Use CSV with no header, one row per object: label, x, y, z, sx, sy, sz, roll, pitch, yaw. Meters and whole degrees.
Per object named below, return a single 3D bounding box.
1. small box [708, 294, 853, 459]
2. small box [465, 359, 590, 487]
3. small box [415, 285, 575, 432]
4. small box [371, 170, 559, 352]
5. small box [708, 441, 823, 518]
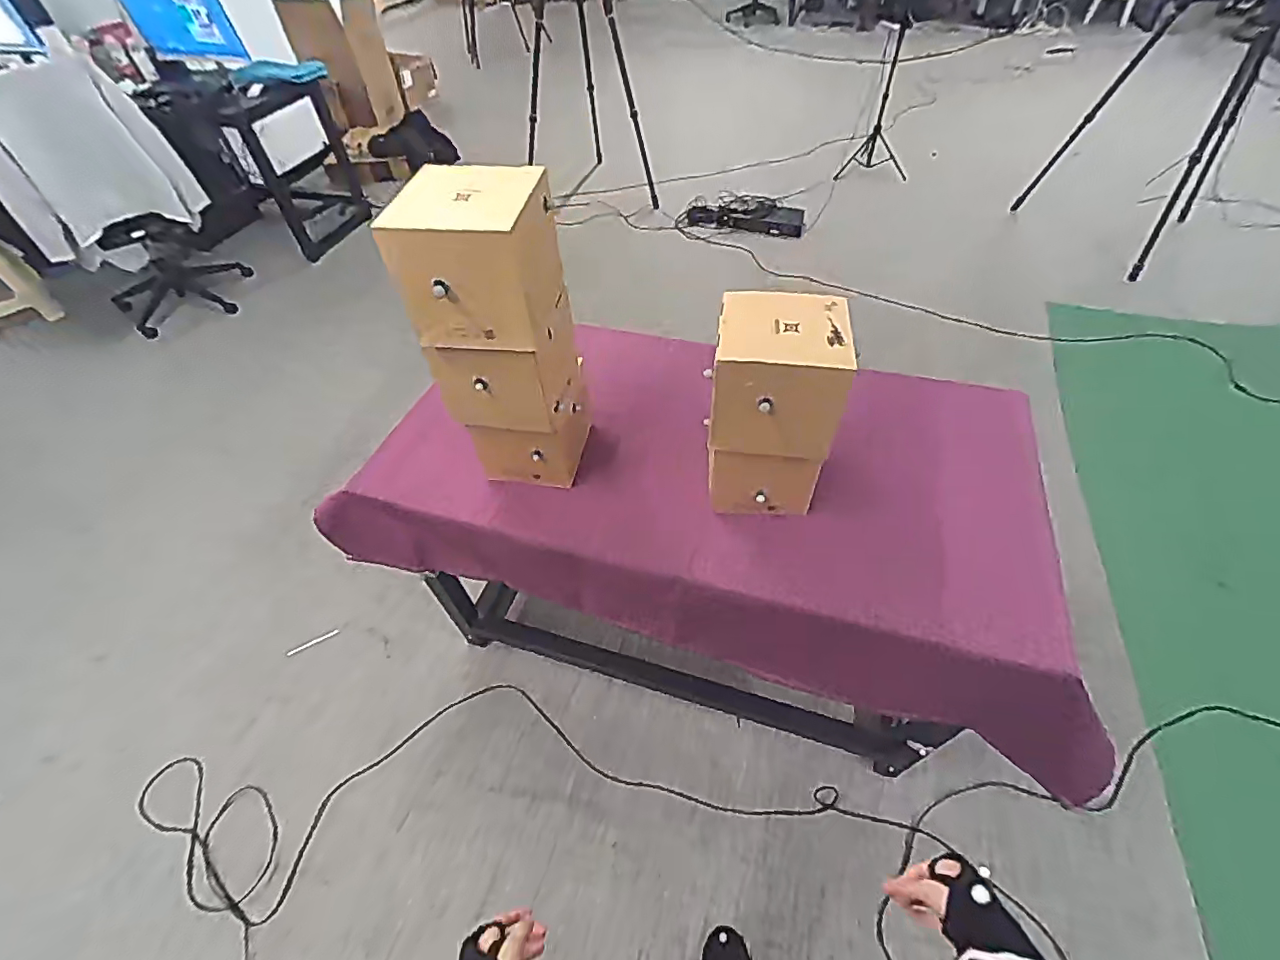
small box,0.194,-0.147,0.780,0.179,0.176,0.168,6,51,9
small box,-0.194,-0.107,0.988,0.168,0.176,0.179,7,50,8
small box,-0.210,-0.193,0.847,0.179,0.176,0.168,7,51,9
small box,-0.211,-0.287,0.714,0.168,0.176,0.179,4,50,6
small box,0.203,-0.057,0.919,0.168,0.176,0.179,2,50,6
